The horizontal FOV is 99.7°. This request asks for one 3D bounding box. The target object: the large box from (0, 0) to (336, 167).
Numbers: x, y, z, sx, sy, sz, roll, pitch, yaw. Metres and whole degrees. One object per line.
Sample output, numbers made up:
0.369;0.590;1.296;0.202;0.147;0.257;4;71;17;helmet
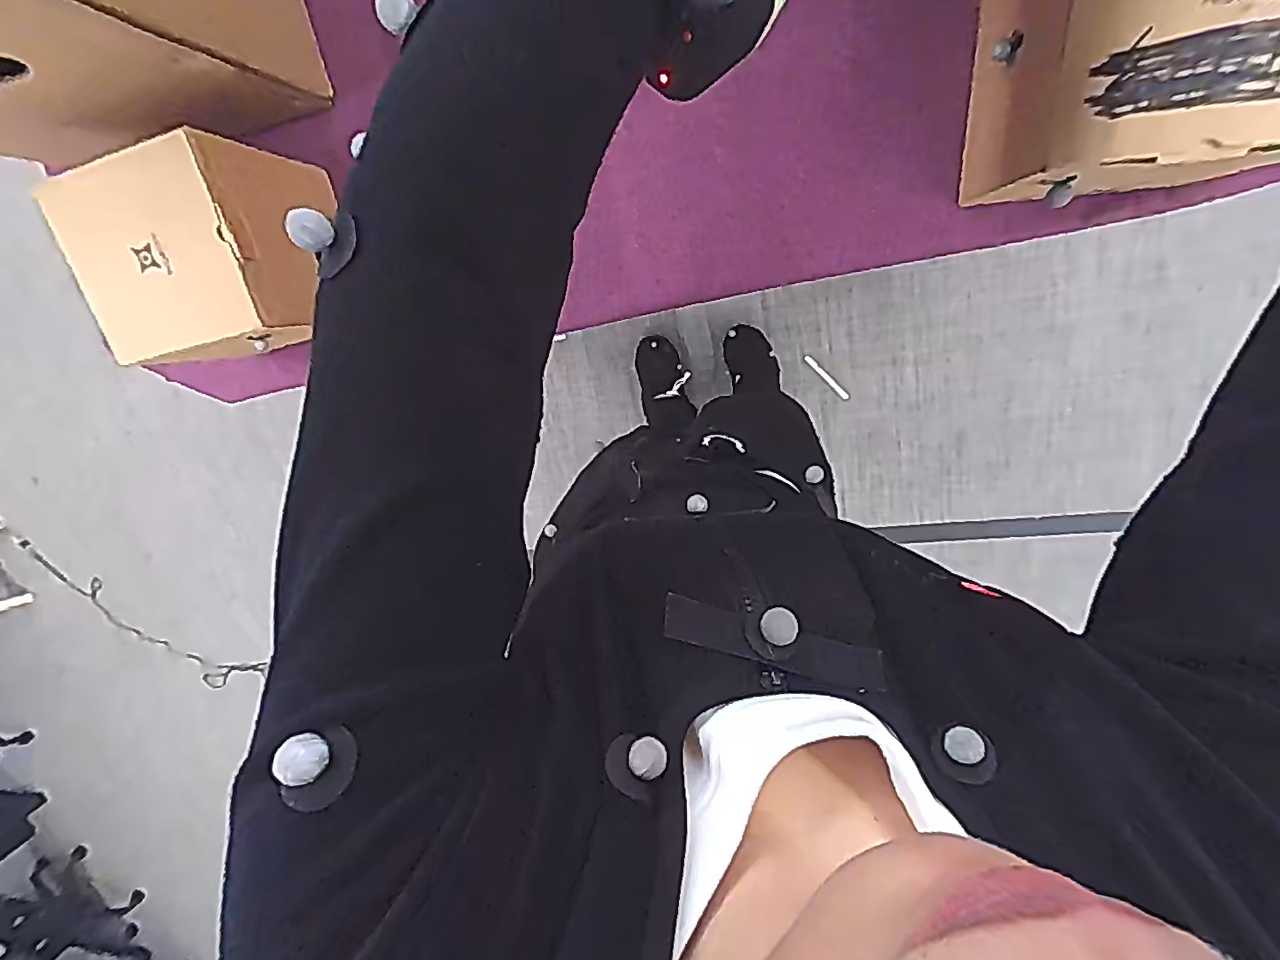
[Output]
-0.528;-0.515;0.407;0.320;0.320;0.408;-7;111;14;large box
